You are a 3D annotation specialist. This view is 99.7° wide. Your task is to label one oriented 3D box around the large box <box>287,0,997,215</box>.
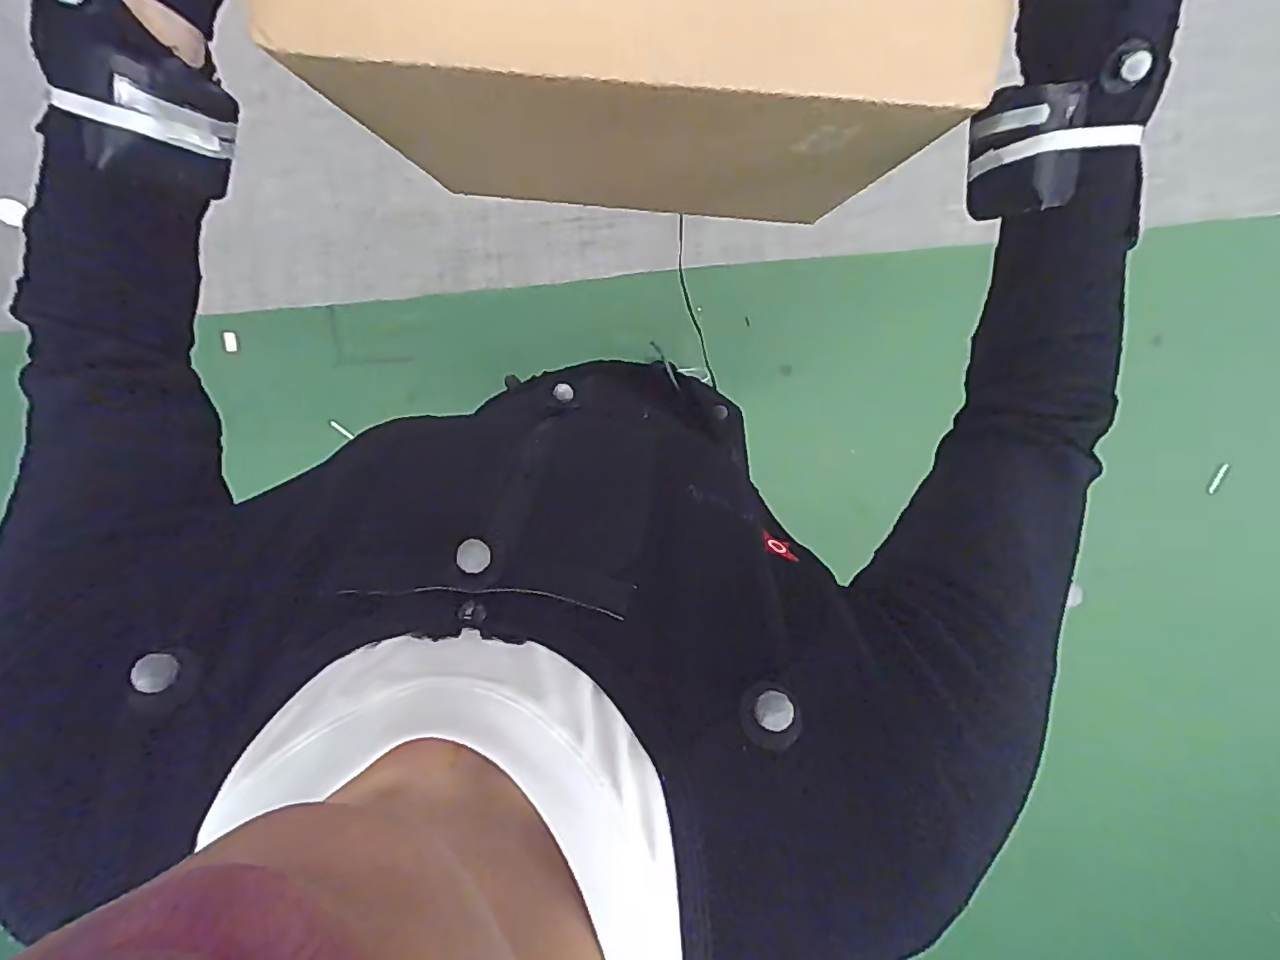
[{"bbox_3d":[0.006,-0.412,0.417,0.408,0.320,0.320,4,105,-1],"label":"large box"}]
